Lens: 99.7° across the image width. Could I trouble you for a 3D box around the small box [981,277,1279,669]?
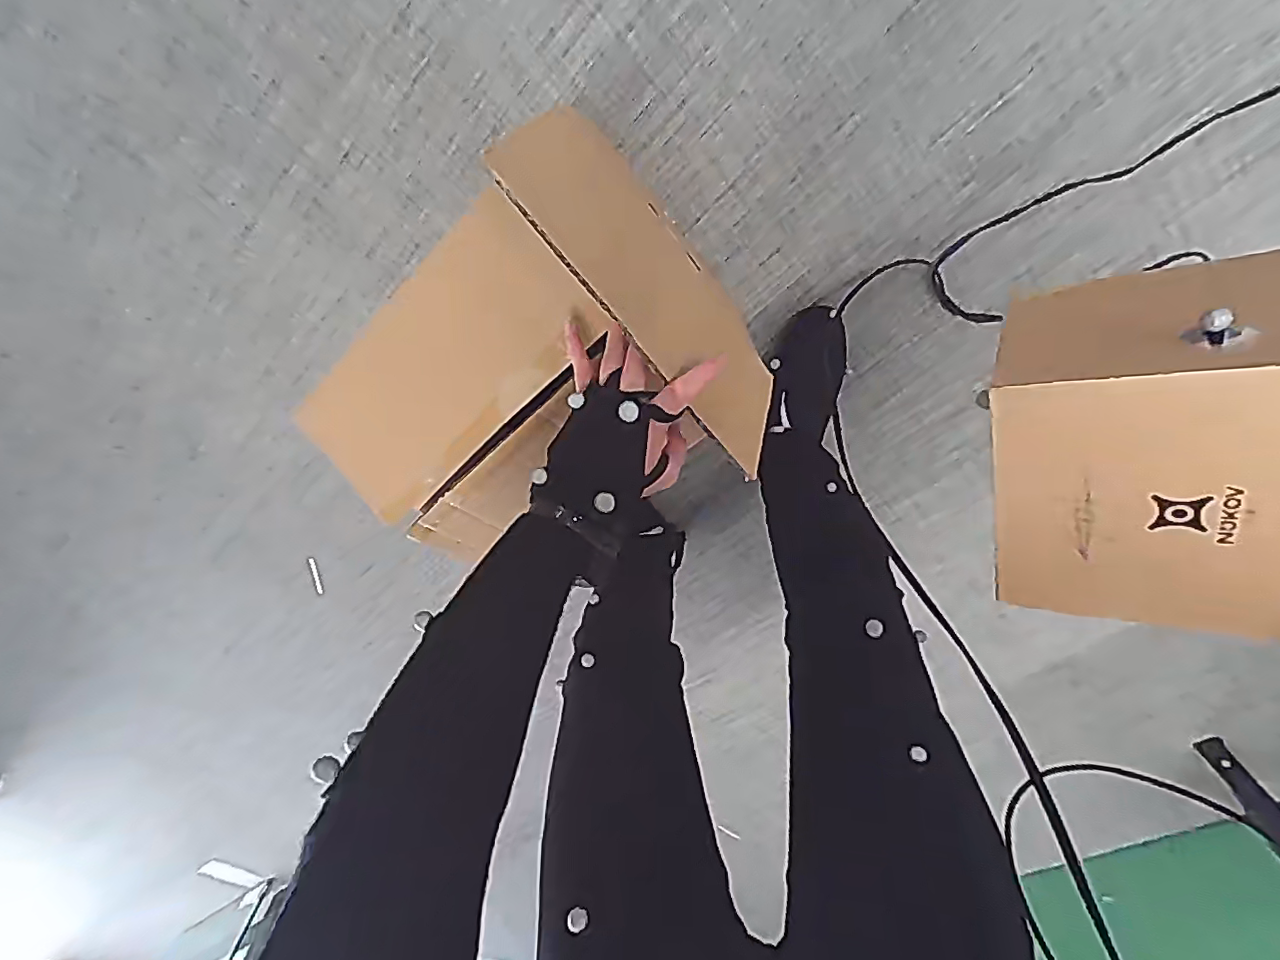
[{"bbox_3d":[0.323,-0.015,0.334,0.179,0.176,0.168,4,123,38],"label":"small box"}]
